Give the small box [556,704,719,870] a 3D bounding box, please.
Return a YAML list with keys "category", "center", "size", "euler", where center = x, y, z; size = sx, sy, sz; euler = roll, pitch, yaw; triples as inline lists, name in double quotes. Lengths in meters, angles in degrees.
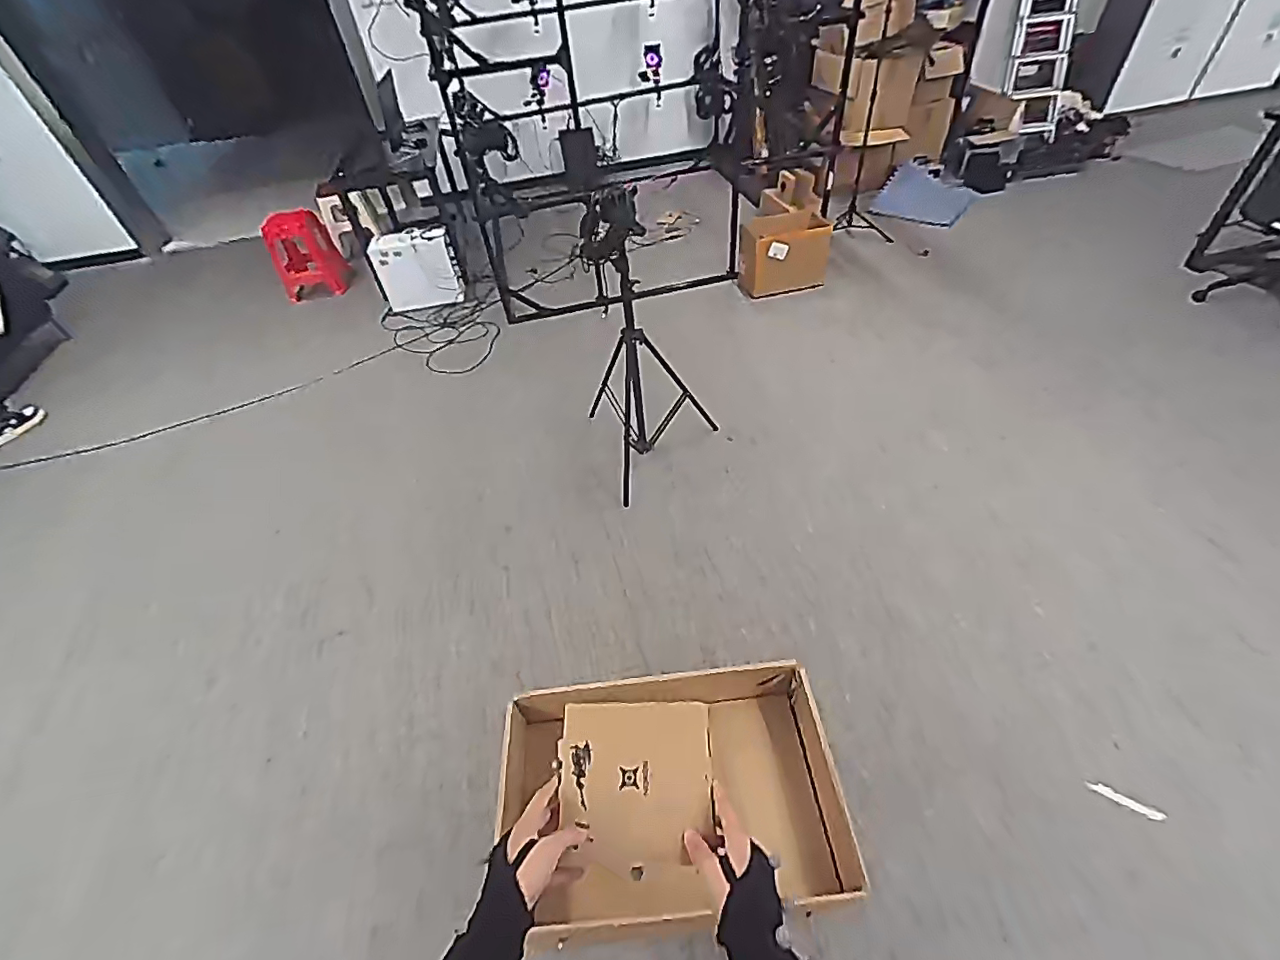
- category: "small box"
  center: [-0.004, 0.387, 0.682]
  size: [0.179, 0.176, 0.168]
  euler: [1, 56, -1]
